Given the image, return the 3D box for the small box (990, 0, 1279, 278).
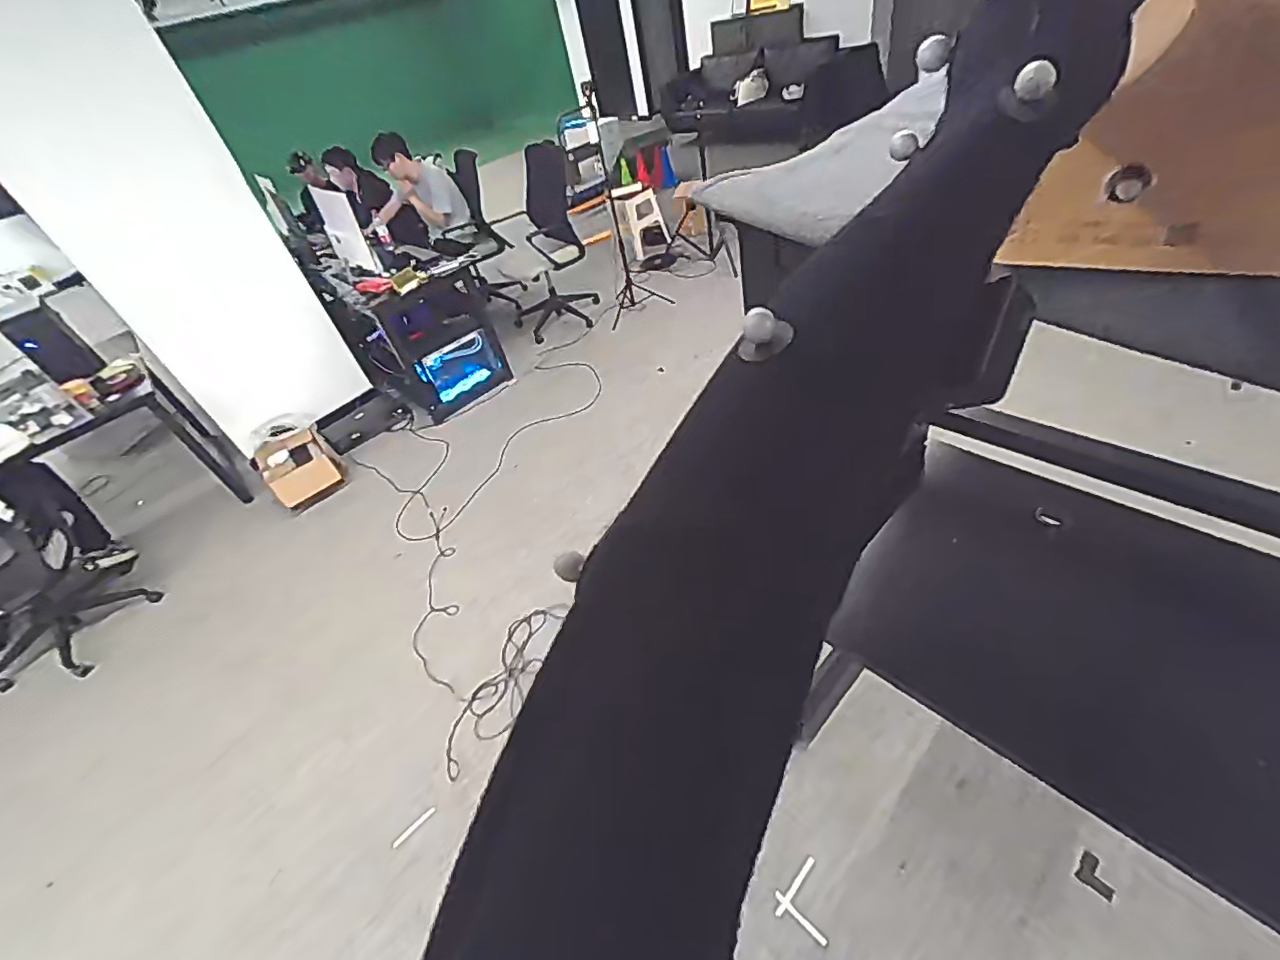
[{"bbox_3d":[0.346,-0.252,0.344,0.168,0.176,0.179,17,53,31],"label":"small box"}]
